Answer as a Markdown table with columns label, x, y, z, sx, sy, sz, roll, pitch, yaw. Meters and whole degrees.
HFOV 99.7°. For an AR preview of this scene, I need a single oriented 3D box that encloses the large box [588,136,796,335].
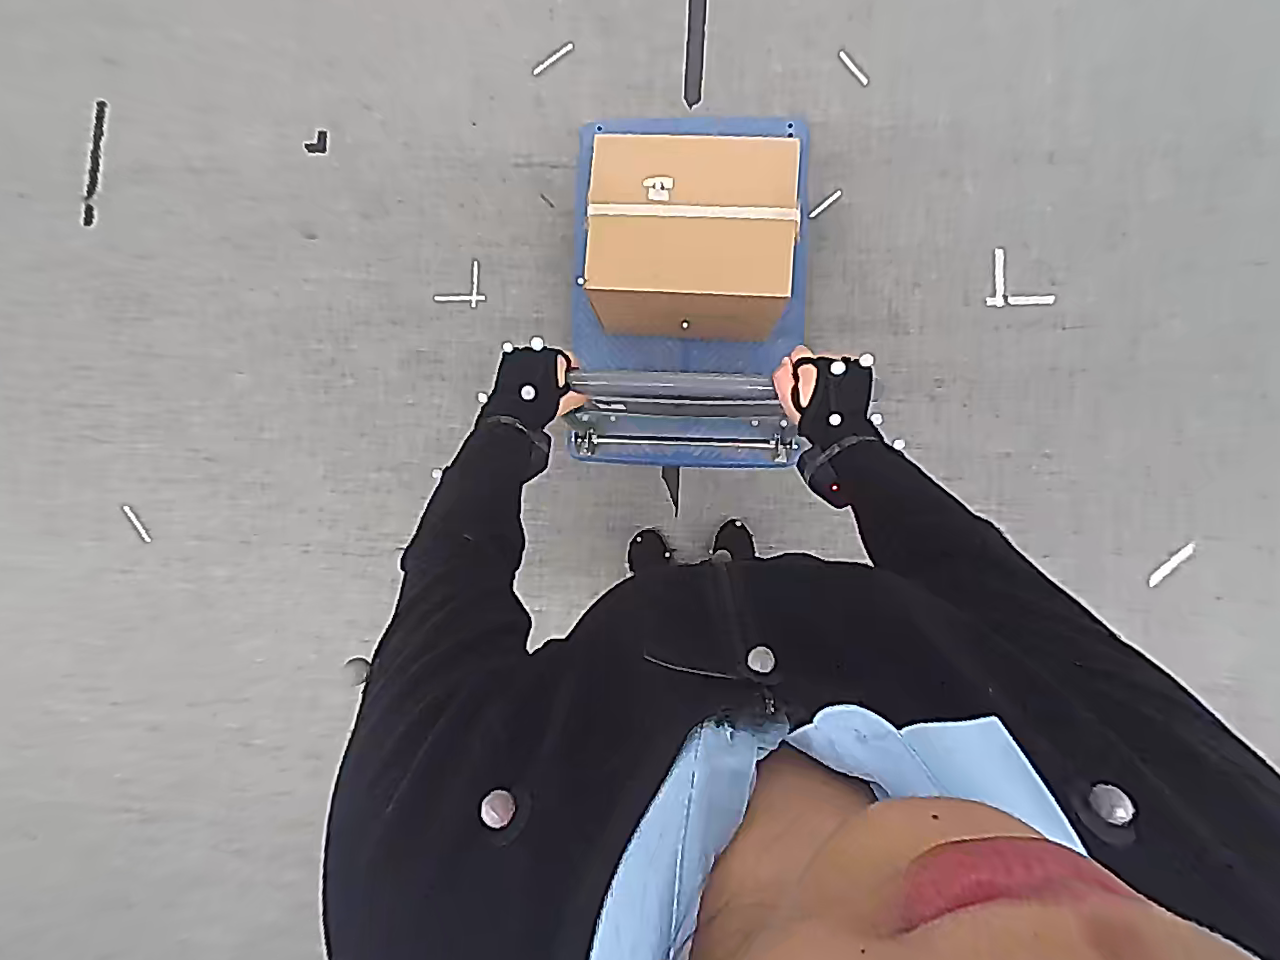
| label | x | y | z | sx | sy | sz | roll | pitch | yaw |
| --- | --- | --- | --- | --- | --- | --- | --- | --- | --- |
| large box | 0.116 | -0.522 | 1.213 | 0.408 | 0.320 | 0.320 | 4 | 88 | 5 |
